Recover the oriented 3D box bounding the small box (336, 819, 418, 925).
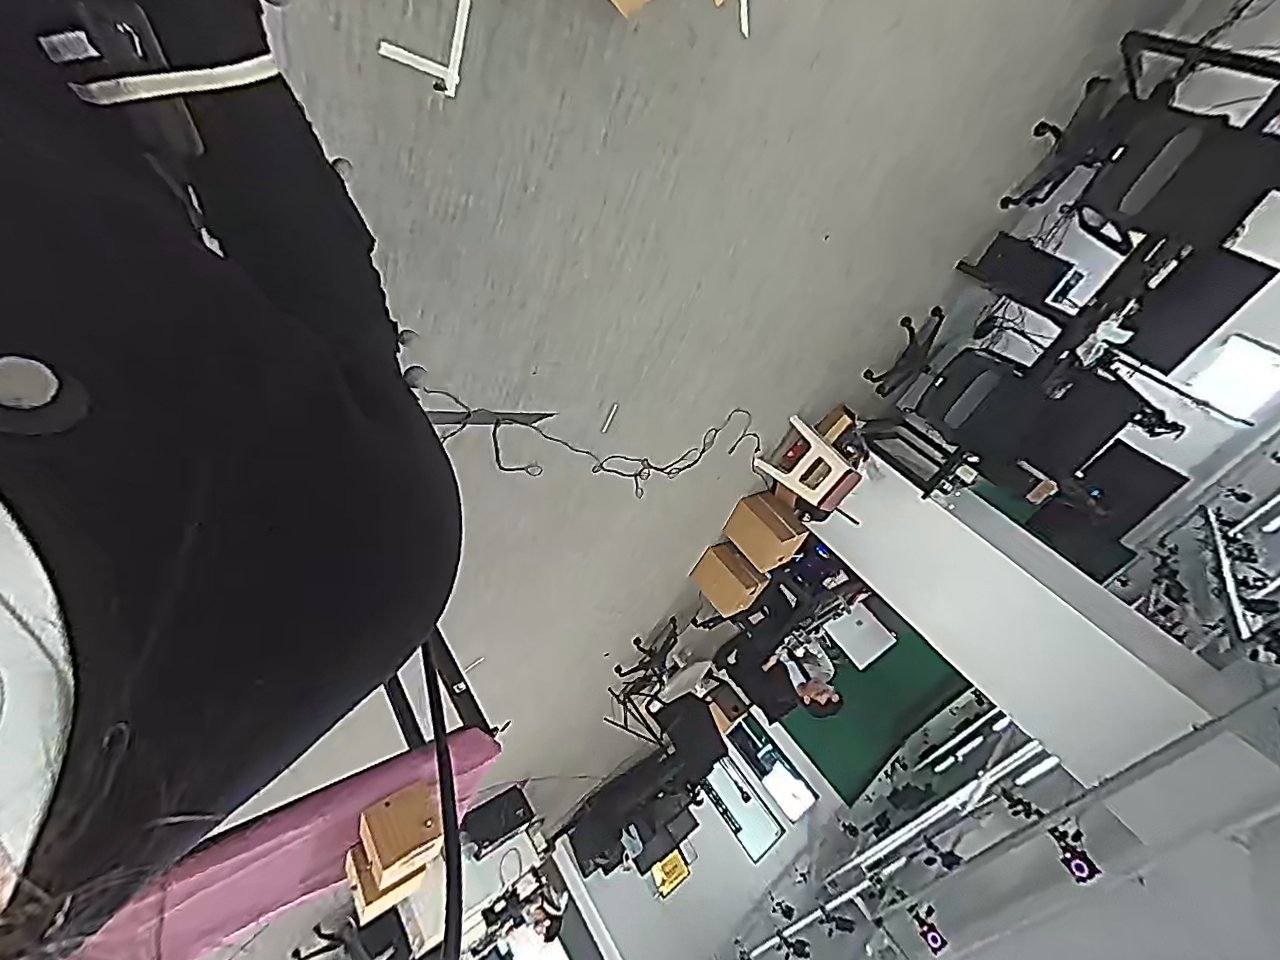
[{"bbox_3d":[-0.798,1.174,1.629,0.179,0.176,0.168,-11,138,-43],"label":"small box"}]
